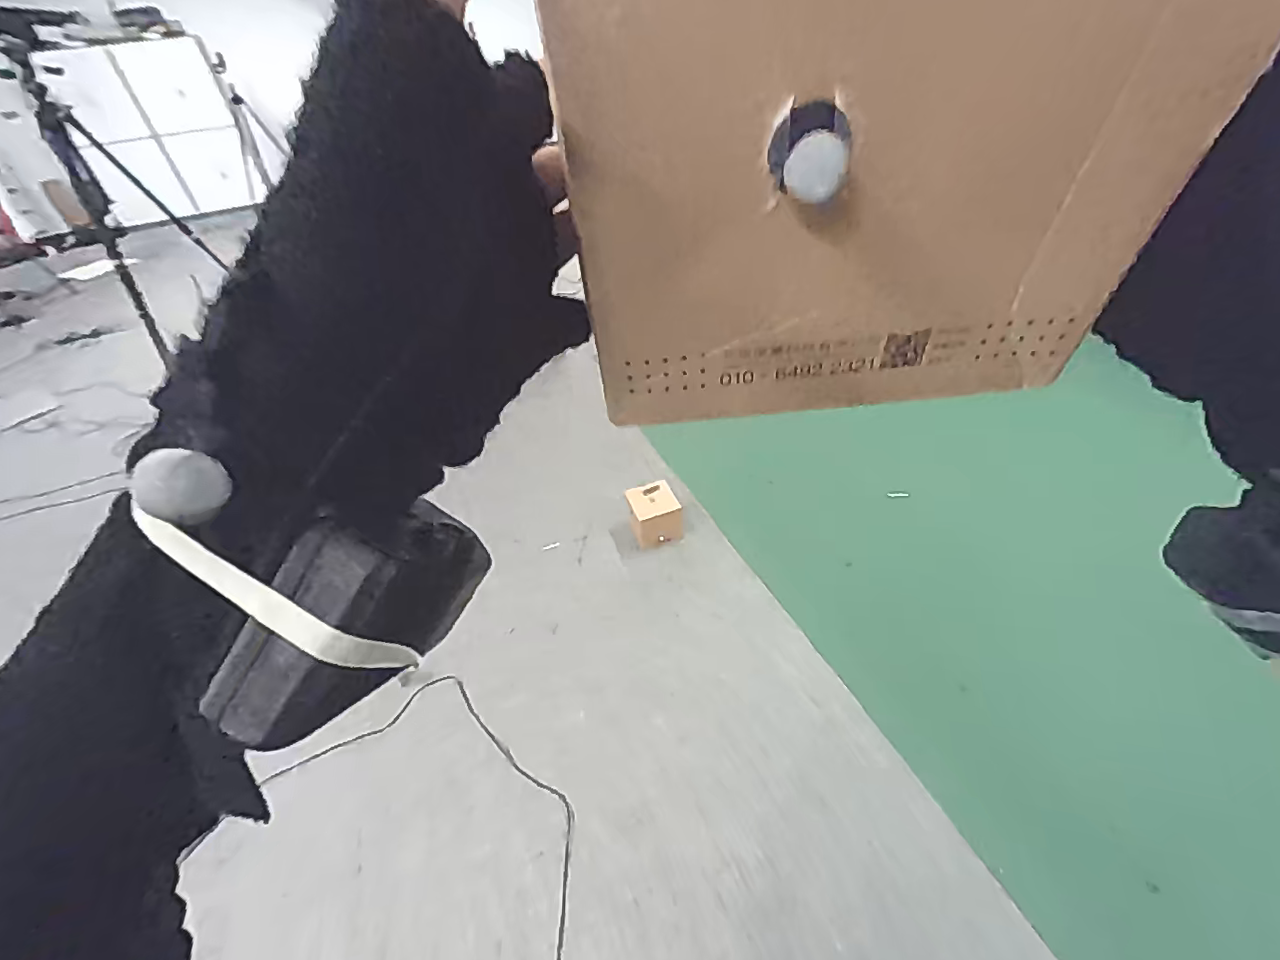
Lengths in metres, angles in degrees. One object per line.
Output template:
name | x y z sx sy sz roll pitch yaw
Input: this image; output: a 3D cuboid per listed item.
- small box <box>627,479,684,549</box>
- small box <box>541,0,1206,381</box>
small box | 0.059 0.129 2.041 0.168 0.176 0.179 -17 42 -11
small box | 0.060 -0.151 0.202 0.168 0.176 0.179 -6 50 2
